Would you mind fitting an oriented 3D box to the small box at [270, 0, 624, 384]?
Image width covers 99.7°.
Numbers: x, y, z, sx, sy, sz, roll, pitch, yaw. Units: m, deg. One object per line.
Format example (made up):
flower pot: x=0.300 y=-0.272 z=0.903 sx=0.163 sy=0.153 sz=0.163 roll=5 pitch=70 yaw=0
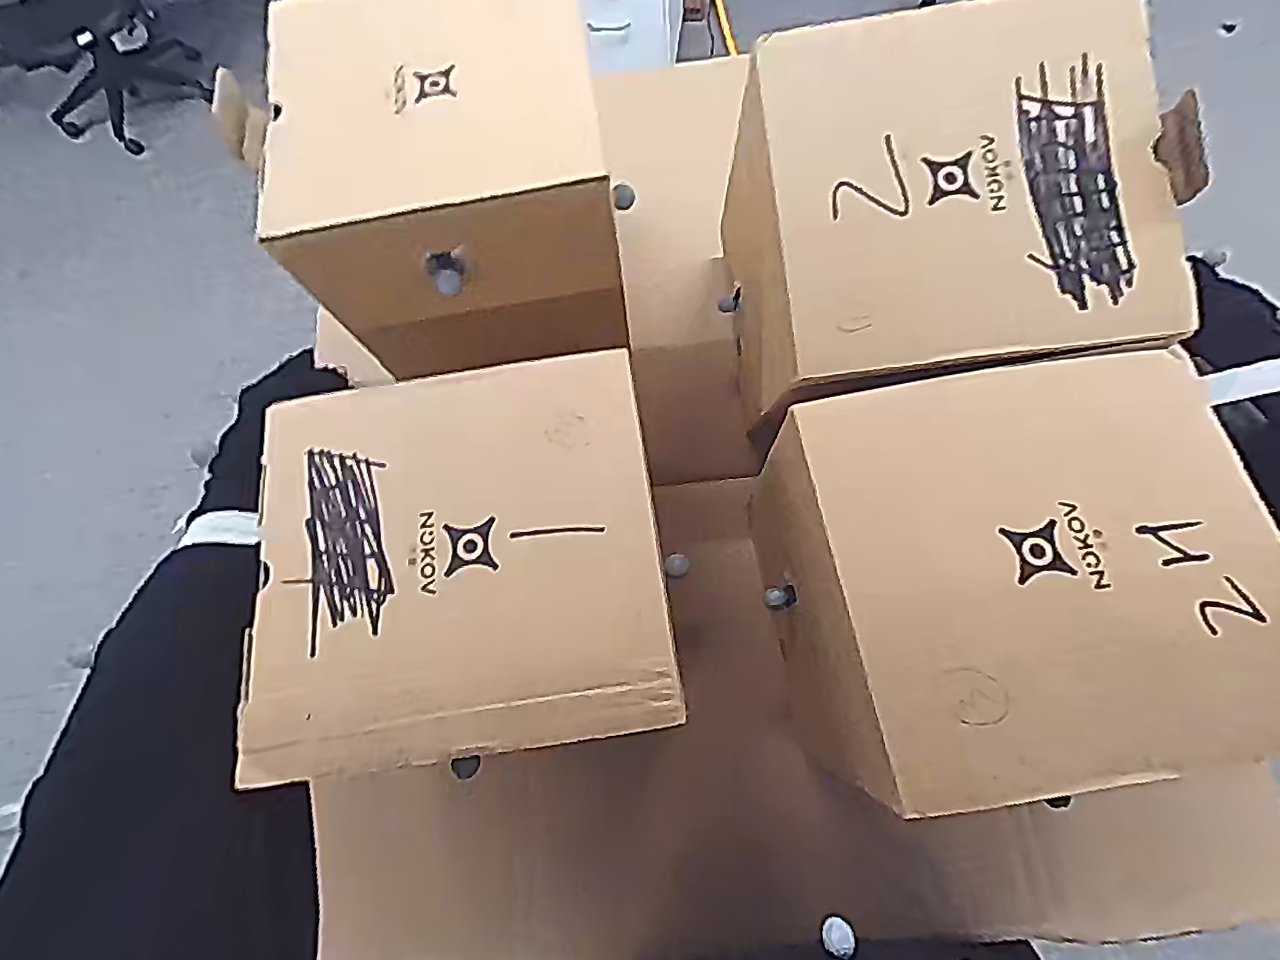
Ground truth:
small box: x=-0.109 y=-0.186 z=0.371 sx=0.179 sy=0.176 sz=0.168 roll=-10 pitch=72 yaw=2
